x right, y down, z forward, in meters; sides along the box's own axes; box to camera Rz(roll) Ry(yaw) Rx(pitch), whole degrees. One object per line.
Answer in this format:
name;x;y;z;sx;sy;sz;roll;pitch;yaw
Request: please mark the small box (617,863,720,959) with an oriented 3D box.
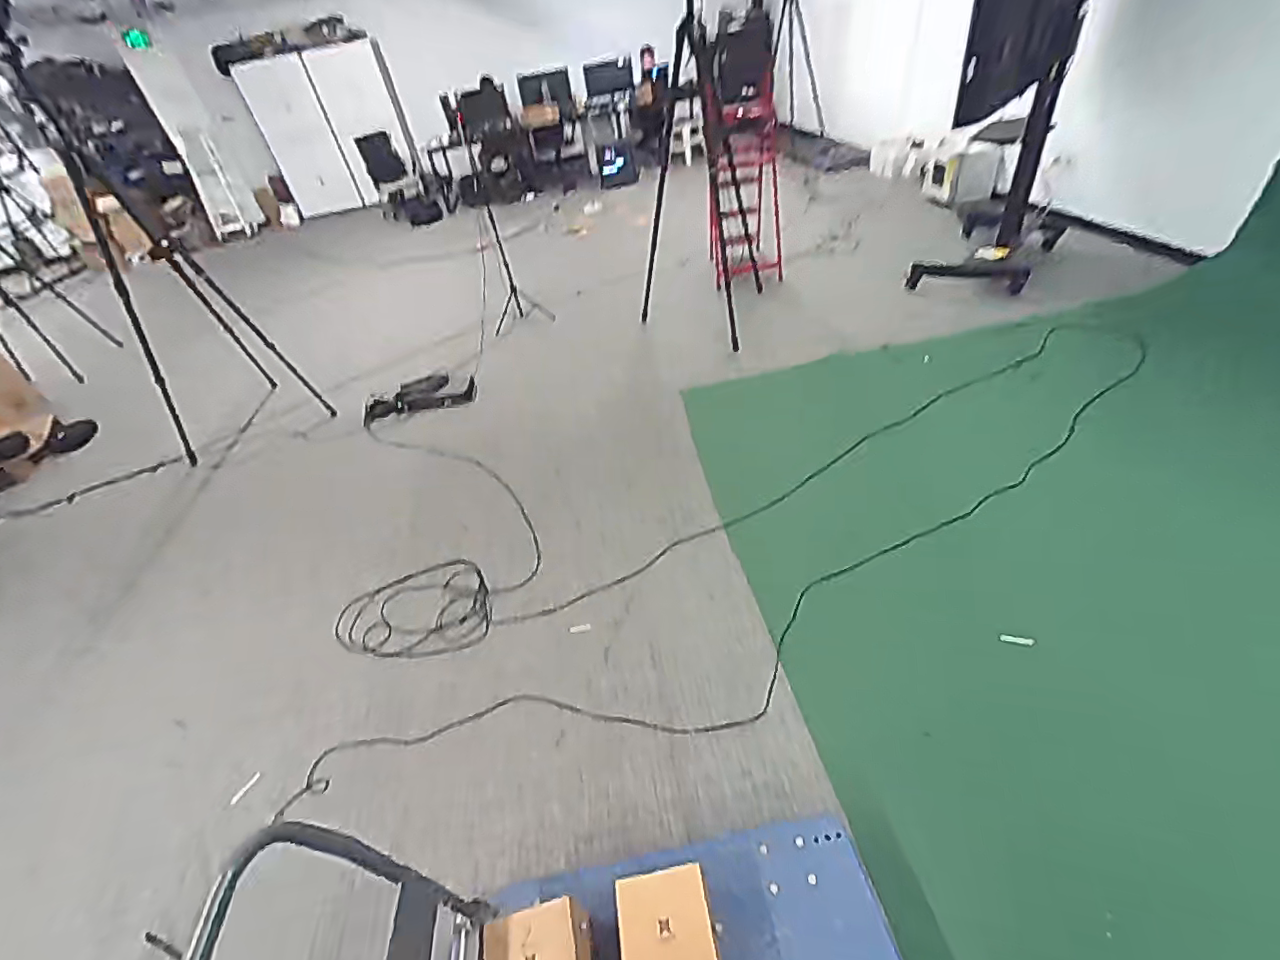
small box;0.057;0.857;1.014;0.168;0.176;0.179;-12;42;-1
